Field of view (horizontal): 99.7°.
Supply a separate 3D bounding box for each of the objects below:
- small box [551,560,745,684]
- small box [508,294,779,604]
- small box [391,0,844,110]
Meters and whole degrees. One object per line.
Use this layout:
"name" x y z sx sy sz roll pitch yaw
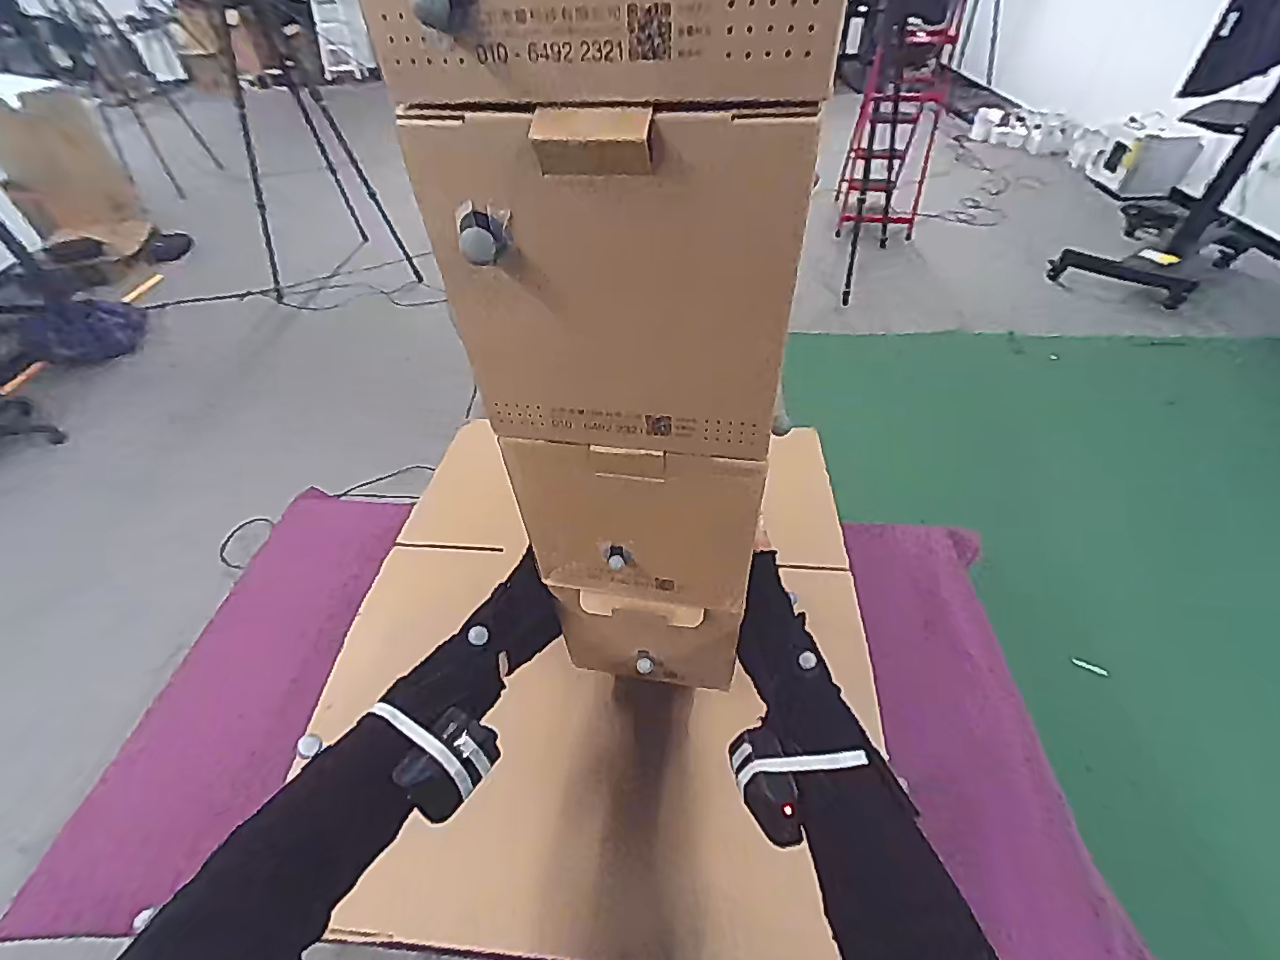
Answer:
"small box" 0.023 0.083 0.560 0.168 0.176 0.179 7 49 10
"small box" 0.014 -0.027 0.439 0.168 0.176 0.179 7 49 9
"small box" -0.001 -0.254 0.201 0.168 0.176 0.179 7 47 10
